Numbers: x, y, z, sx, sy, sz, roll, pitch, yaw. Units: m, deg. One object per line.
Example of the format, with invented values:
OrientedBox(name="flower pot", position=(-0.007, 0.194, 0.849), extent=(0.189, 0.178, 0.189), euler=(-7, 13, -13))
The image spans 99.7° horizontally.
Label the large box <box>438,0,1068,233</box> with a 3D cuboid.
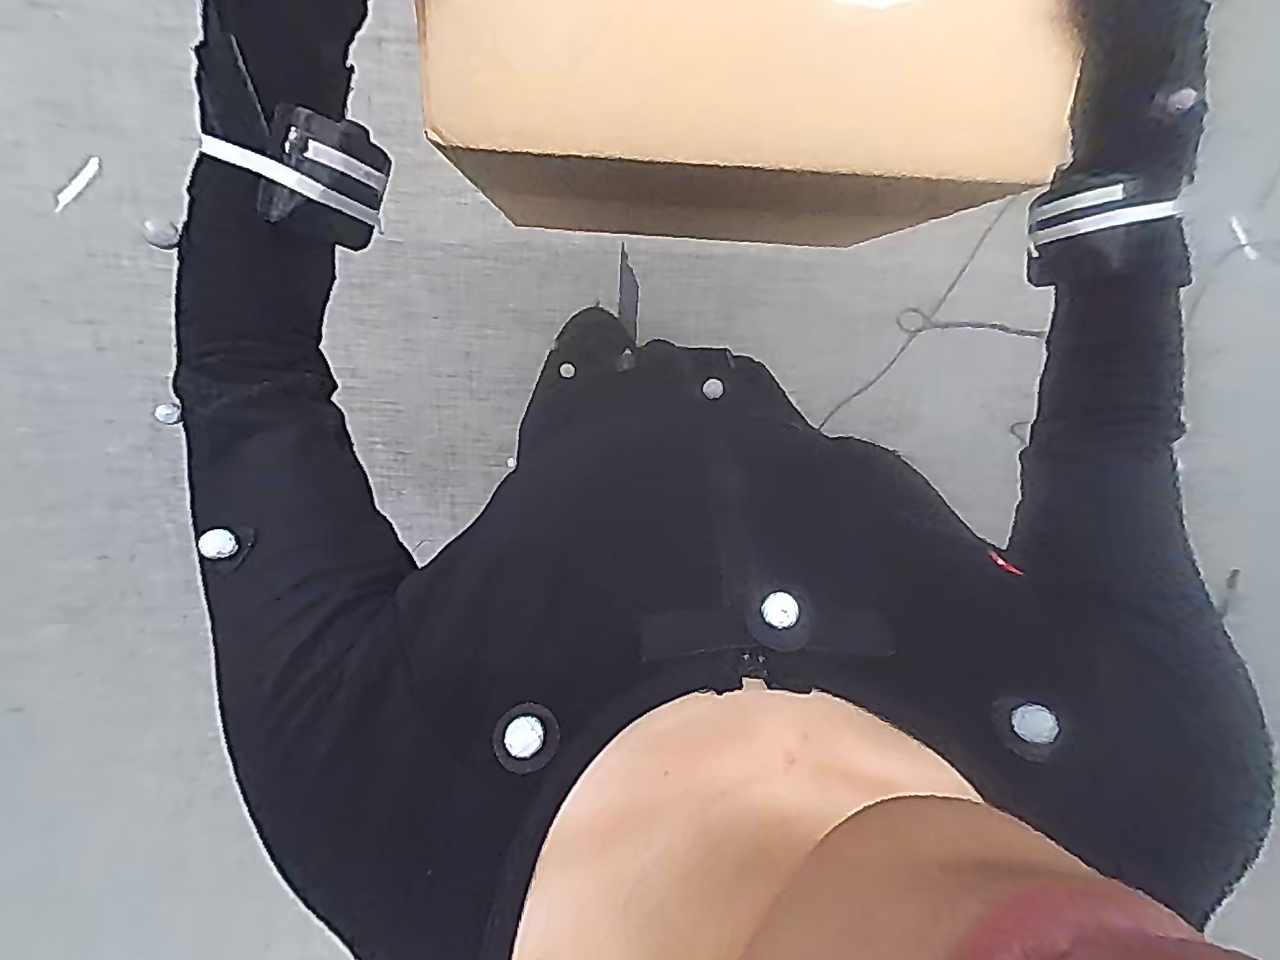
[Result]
OrientedBox(name="large box", position=(0.066, -0.405, 0.458), extent=(0.408, 0.320, 0.320), euler=(1, 107, -4))
